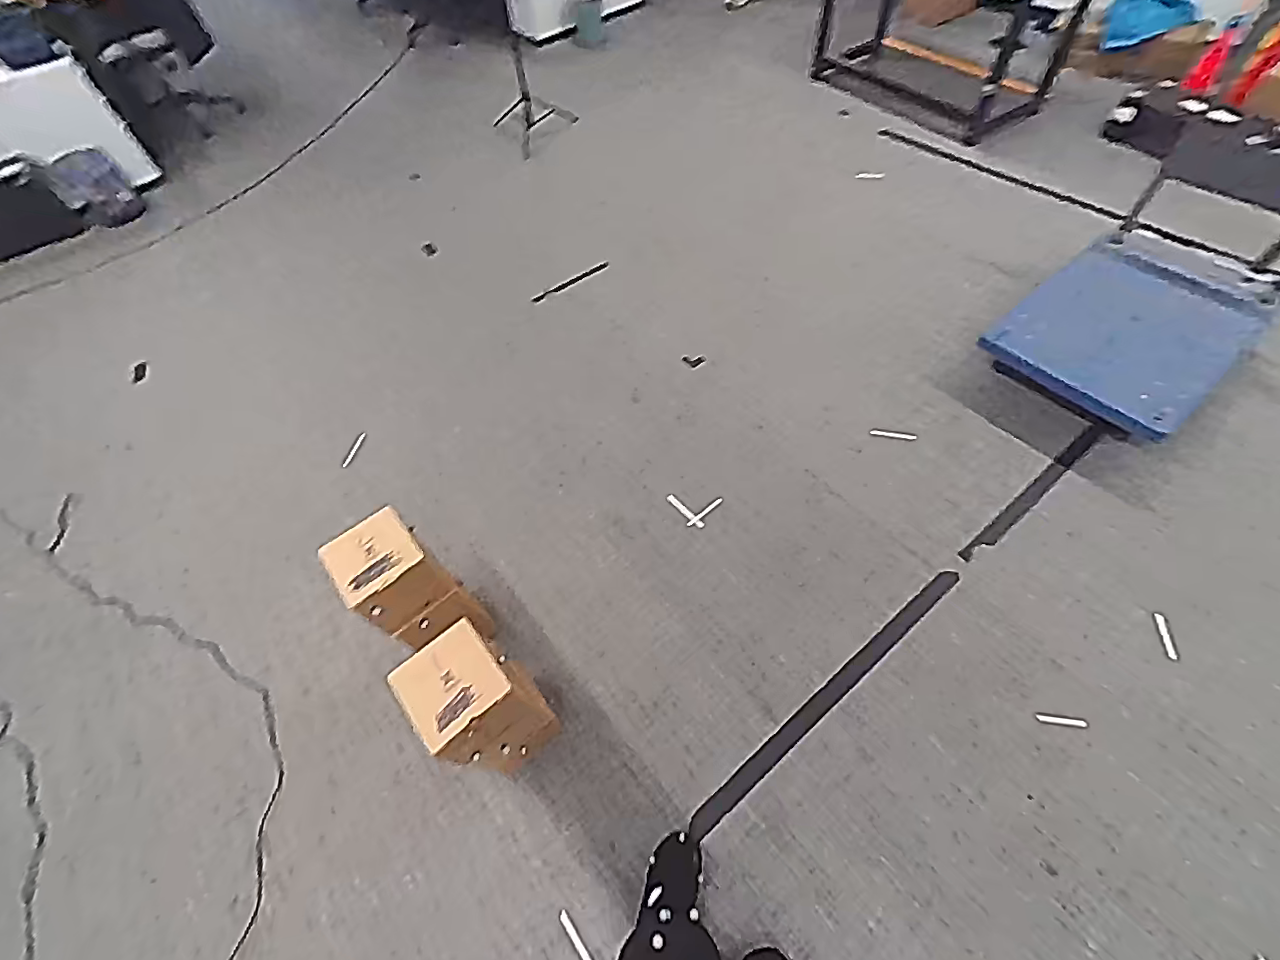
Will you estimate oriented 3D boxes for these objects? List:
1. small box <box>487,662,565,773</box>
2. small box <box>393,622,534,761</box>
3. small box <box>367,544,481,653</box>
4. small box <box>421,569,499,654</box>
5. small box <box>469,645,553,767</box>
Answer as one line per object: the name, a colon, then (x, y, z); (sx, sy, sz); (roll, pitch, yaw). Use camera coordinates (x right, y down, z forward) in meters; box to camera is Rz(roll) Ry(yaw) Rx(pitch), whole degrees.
small box: (-0.305, 0.579, 1.307); (0.179, 0.176, 0.168); (-34, 61, -17)
small box: (-0.326, 0.408, 1.029); (0.168, 0.176, 0.179); (-37, 61, -18)
small box: (-0.519, 0.295, 1.315); (0.168, 0.176, 0.179); (-38, 60, -18)
small box: (-0.509, 0.381, 1.455); (0.179, 0.176, 0.168); (-37, 61, -19)
small box: (-0.310, 0.494, 1.169); (0.168, 0.176, 0.179); (-38, 62, -18)
